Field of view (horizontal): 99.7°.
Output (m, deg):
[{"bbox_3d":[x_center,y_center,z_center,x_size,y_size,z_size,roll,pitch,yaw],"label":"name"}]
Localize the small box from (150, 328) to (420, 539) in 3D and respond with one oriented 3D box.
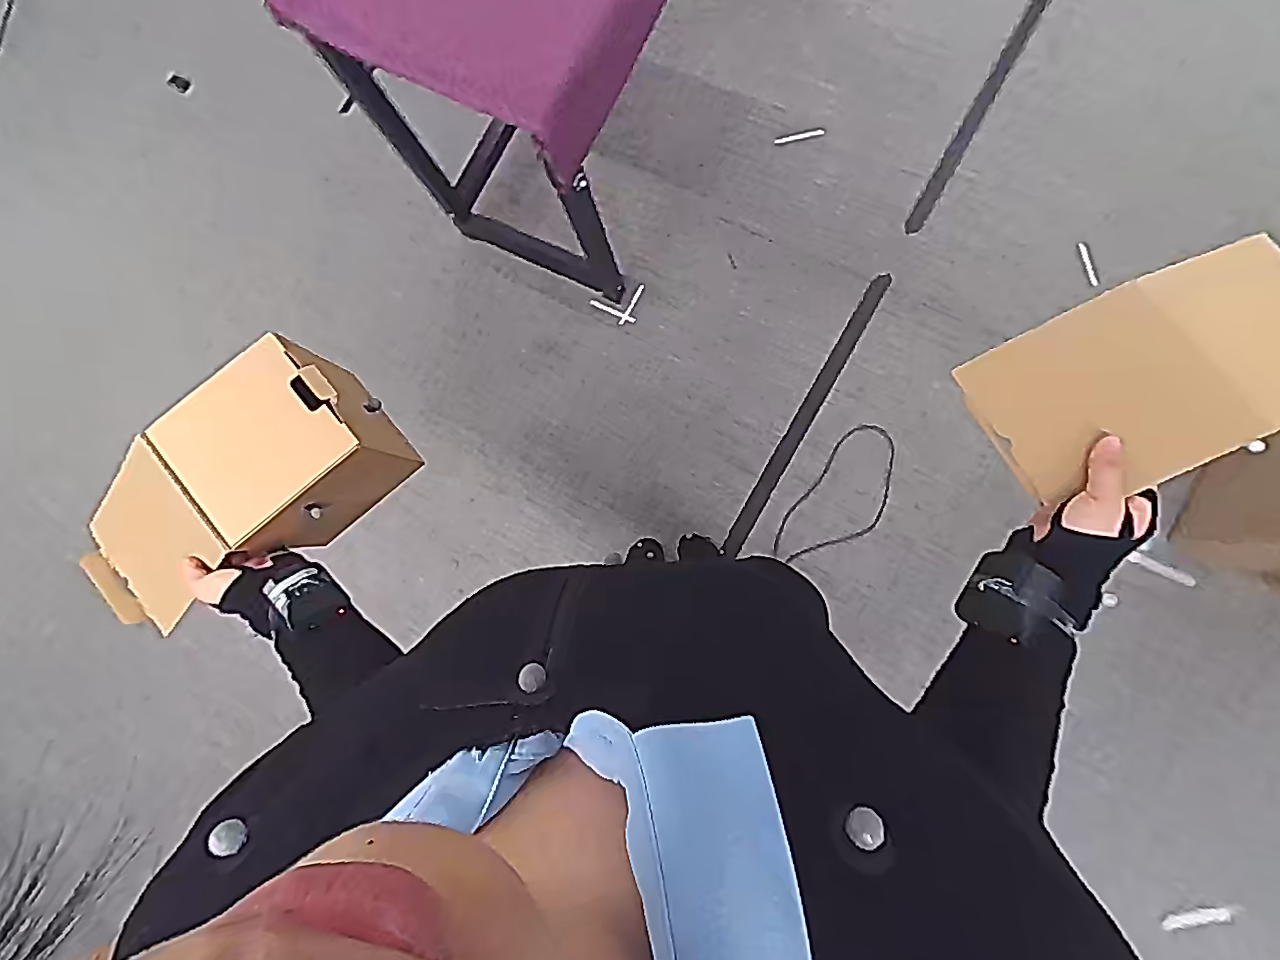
[{"bbox_3d":[-0.408,-0.043,0.654,0.179,0.176,0.168,-39,85,-3],"label":"small box"}]
